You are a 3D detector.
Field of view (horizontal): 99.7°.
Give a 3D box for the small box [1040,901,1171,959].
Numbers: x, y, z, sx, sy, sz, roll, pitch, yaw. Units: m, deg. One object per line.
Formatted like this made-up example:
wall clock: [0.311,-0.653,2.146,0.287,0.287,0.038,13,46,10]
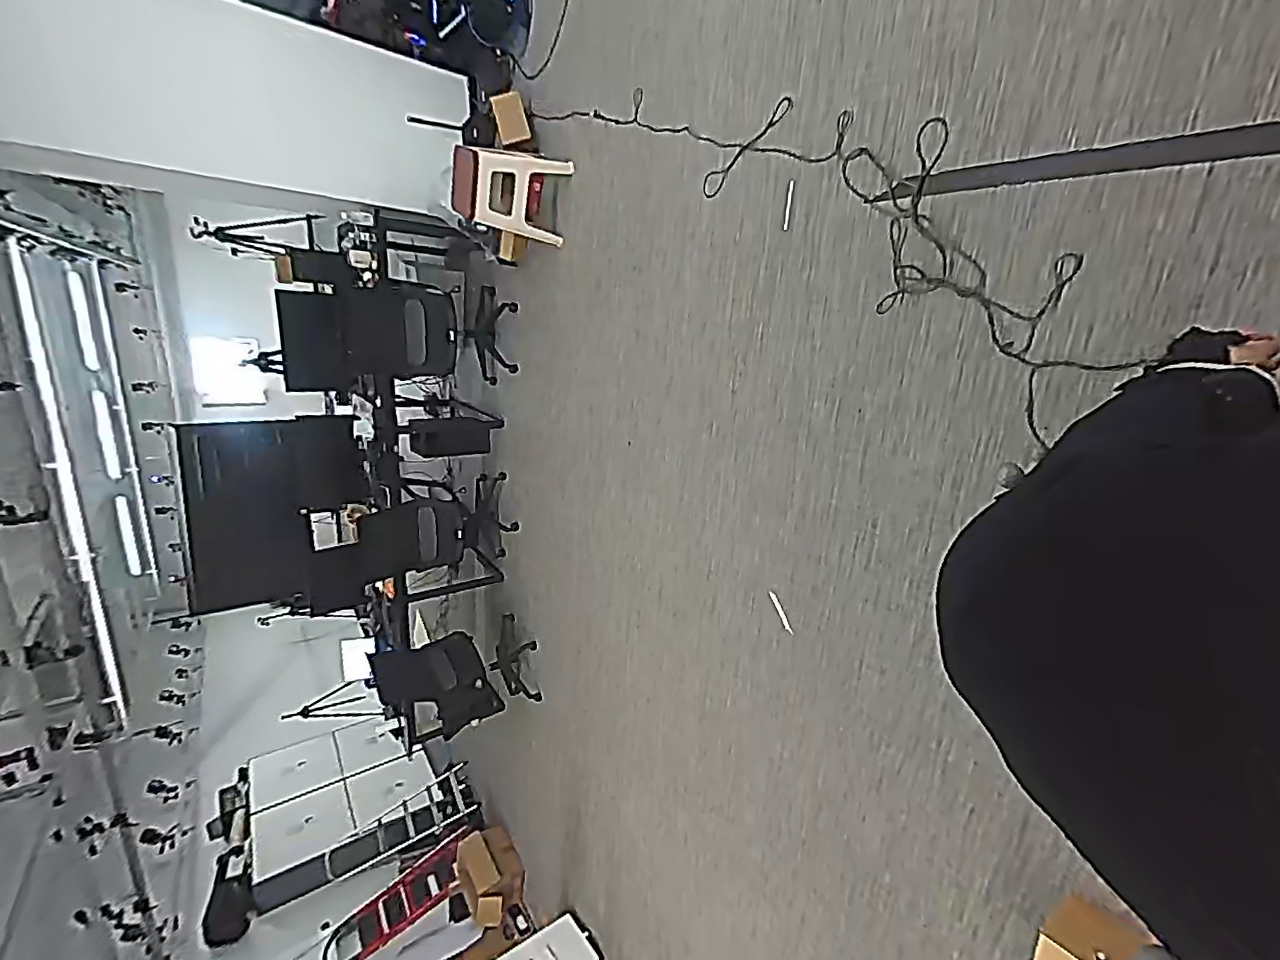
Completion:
small box: [0.992,1.062,1.164,0.179,0.176,0.168,18,110,51]
